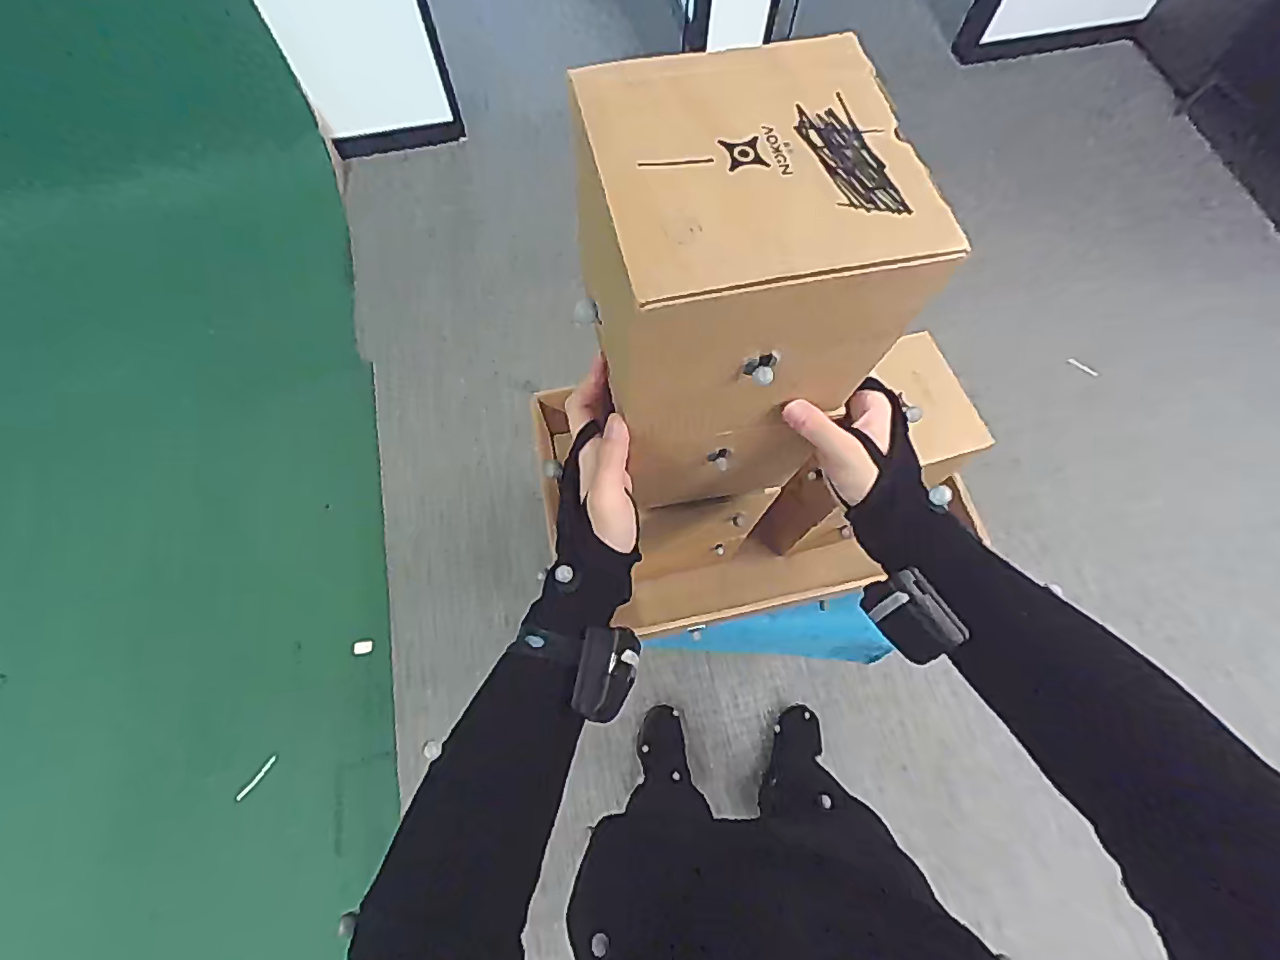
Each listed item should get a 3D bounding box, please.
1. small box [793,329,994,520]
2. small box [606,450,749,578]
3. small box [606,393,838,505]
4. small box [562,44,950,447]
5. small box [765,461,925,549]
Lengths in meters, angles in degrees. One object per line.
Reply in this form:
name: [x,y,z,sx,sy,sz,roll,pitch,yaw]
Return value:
small box: [0.299,-0.063,0.706,0.179,0.176,0.168,-16,70,-5]
small box: [0.051,0.045,0.845,0.179,0.176,0.168,-12,69,-6]
small box: [0.056,-0.084,0.518,0.179,0.176,0.168,-9,71,-6]
small box: [0.053,-0.139,0.363,0.179,0.176,0.168,-12,71,-6]
small box: [0.303,-0.002,0.859,0.179,0.176,0.168,-15,69,-4]
